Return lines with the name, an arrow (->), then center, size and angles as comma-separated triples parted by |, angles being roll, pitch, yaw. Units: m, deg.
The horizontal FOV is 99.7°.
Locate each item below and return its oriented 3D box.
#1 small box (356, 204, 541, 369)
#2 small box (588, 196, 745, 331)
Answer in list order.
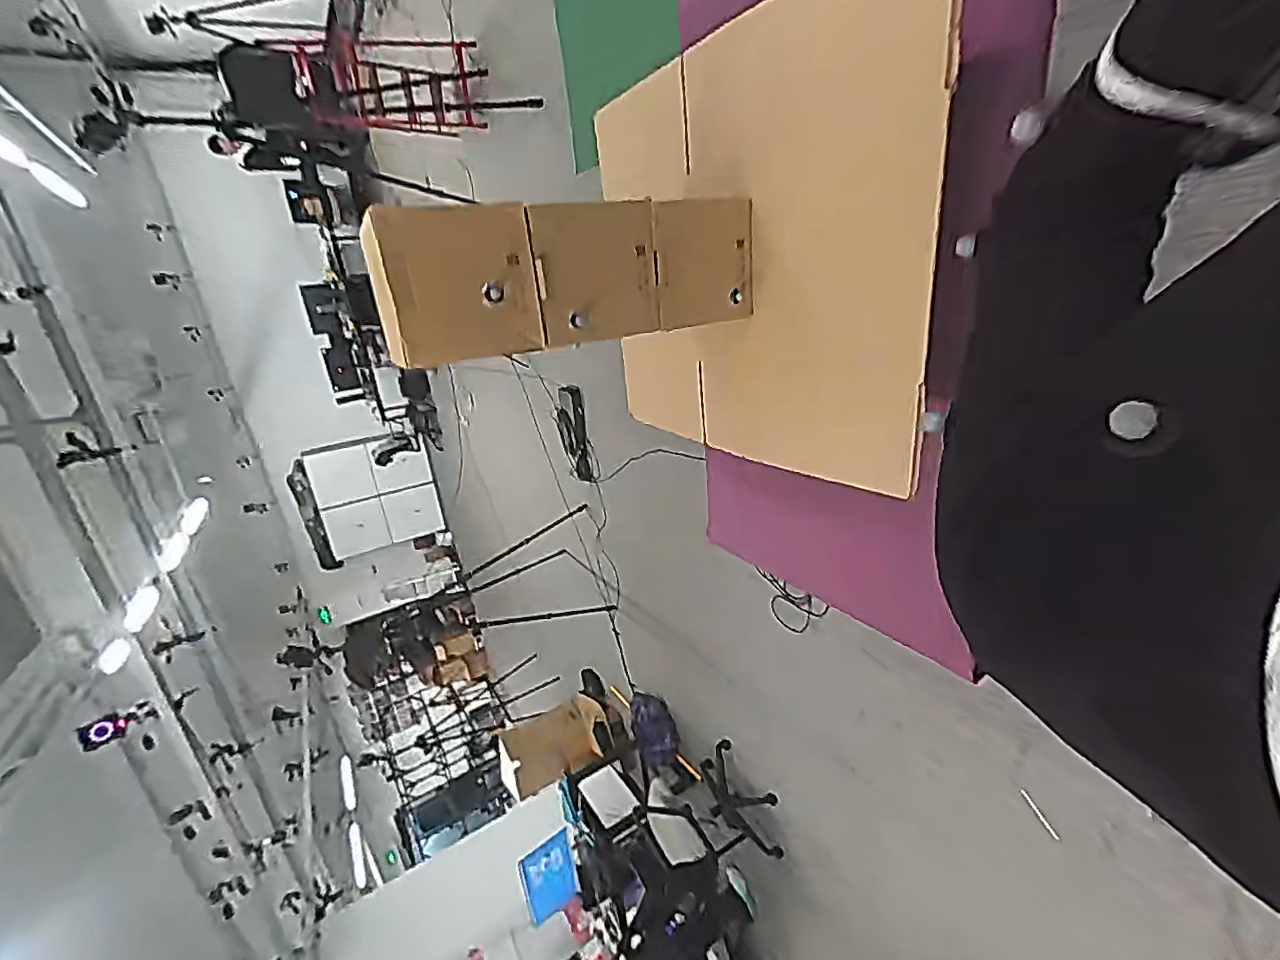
small box -> -0.237, -0.238, 0.674 | 0.179, 0.176, 0.168 | 24, 126, 56
small box -> 0.046, -0.322, 0.819 | 0.179, 0.176, 0.168 | 21, 124, 55
